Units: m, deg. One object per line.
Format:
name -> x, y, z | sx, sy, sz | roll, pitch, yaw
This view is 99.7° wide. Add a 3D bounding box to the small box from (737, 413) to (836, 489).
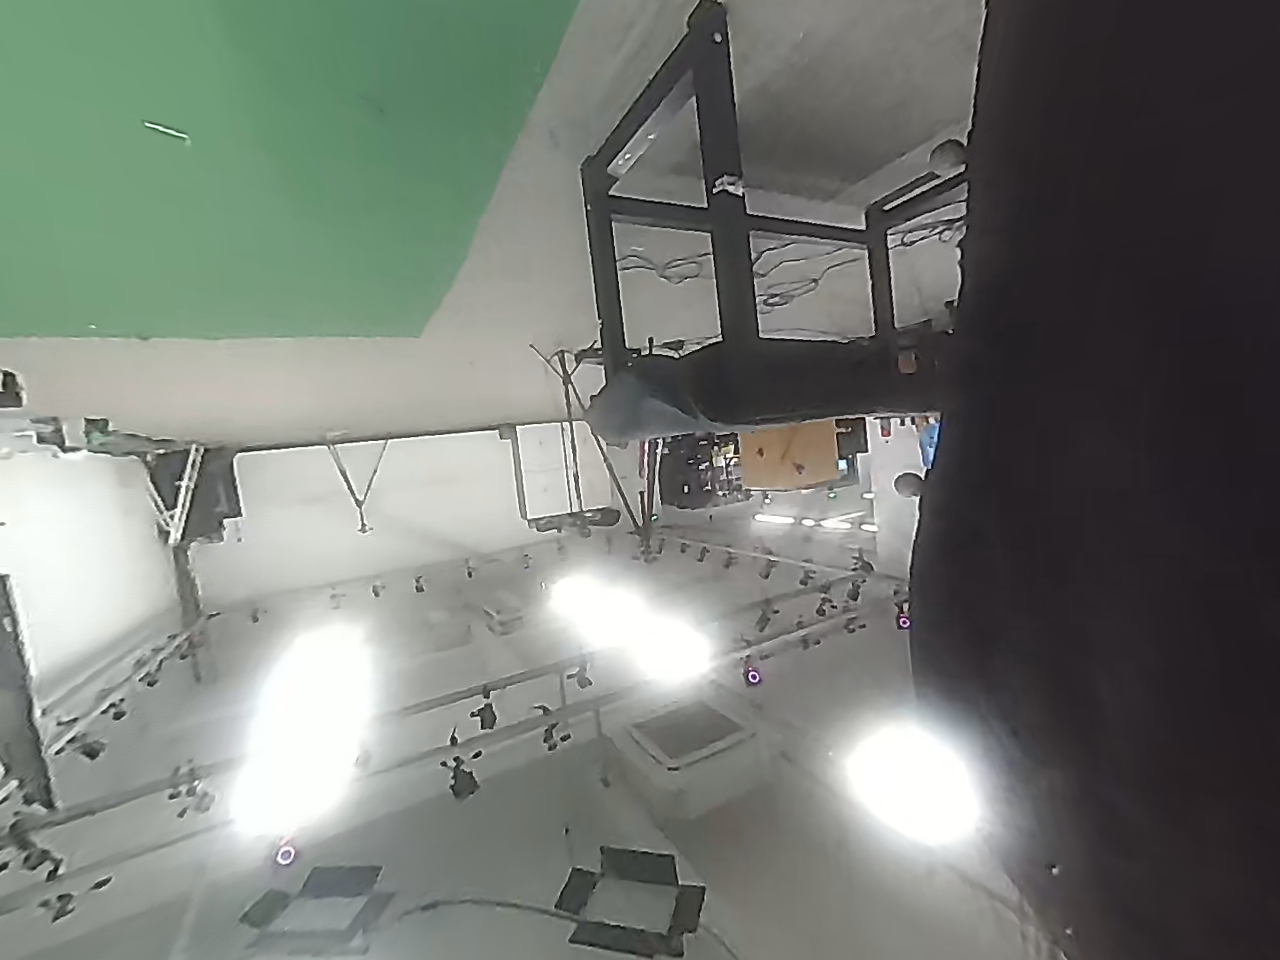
small box -> 0.359, -0.071, 1.347 | 0.179, 0.176, 0.168 | -8, -176, -26
